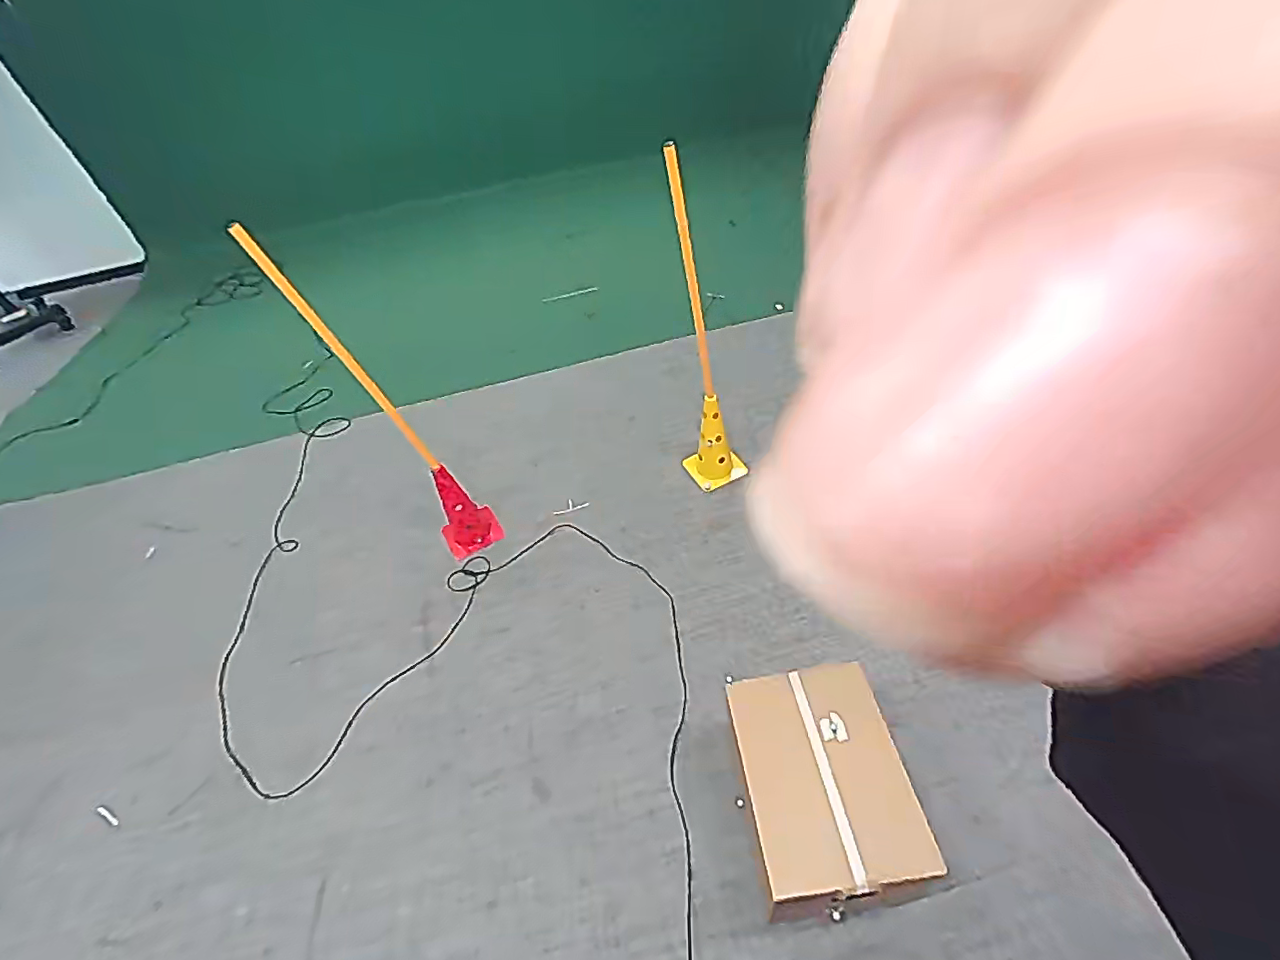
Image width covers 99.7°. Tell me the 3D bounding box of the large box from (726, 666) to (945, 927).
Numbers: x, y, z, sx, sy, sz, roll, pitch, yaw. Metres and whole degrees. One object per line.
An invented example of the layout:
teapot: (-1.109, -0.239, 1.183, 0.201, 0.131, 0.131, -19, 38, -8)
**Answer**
large box: (0.390, 0.691, 1.195, 0.320, 0.320, 0.408, -9, 43, 1)
